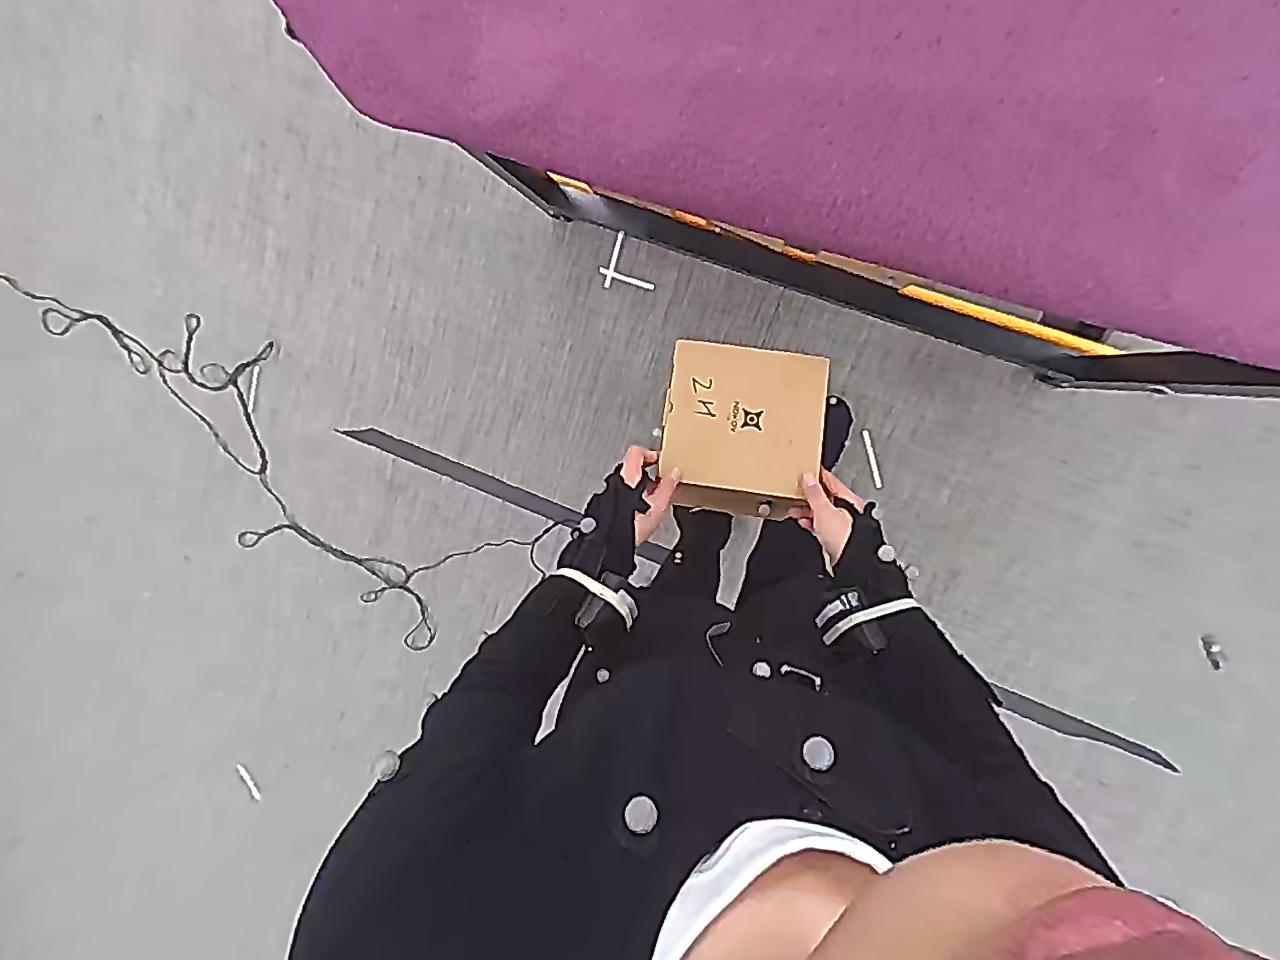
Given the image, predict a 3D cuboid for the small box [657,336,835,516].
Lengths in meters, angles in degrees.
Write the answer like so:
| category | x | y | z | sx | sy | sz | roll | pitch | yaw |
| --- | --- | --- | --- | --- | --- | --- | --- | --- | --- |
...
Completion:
| category | x | y | z | sx | sy | sz | roll | pitch | yaw |
| --- | --- | --- | --- | --- | --- | --- | --- | --- | --- |
| small box | 0.119 | -0.054 | 0.664 | 0.179 | 0.176 | 0.168 | 9 | 79 | 3 |
